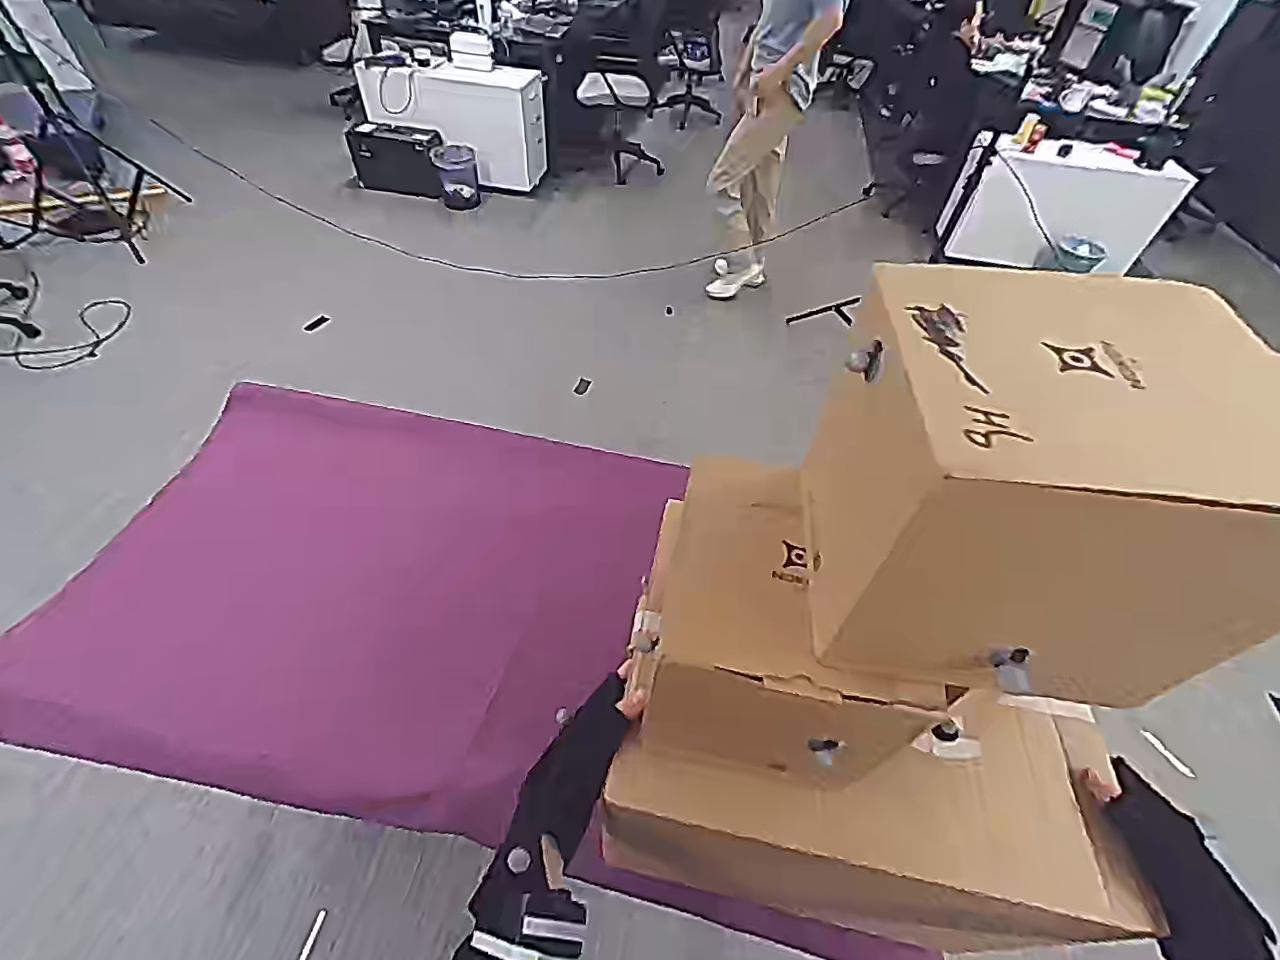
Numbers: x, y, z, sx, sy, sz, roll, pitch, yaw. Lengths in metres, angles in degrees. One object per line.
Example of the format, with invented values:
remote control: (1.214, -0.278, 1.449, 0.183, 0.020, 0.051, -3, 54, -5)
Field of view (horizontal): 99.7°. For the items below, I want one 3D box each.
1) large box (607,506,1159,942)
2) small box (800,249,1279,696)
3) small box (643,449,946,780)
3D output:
large box: (0.188, 0.269, 0.602, 0.408, 0.320, 0.320, 10, 49, 5)
small box: (0.199, 0.000, 0.295, 0.179, 0.176, 0.168, 7, 48, 4)
small box: (0.098, 0.106, 0.416, 0.168, 0.176, 0.179, 10, 46, 3)
